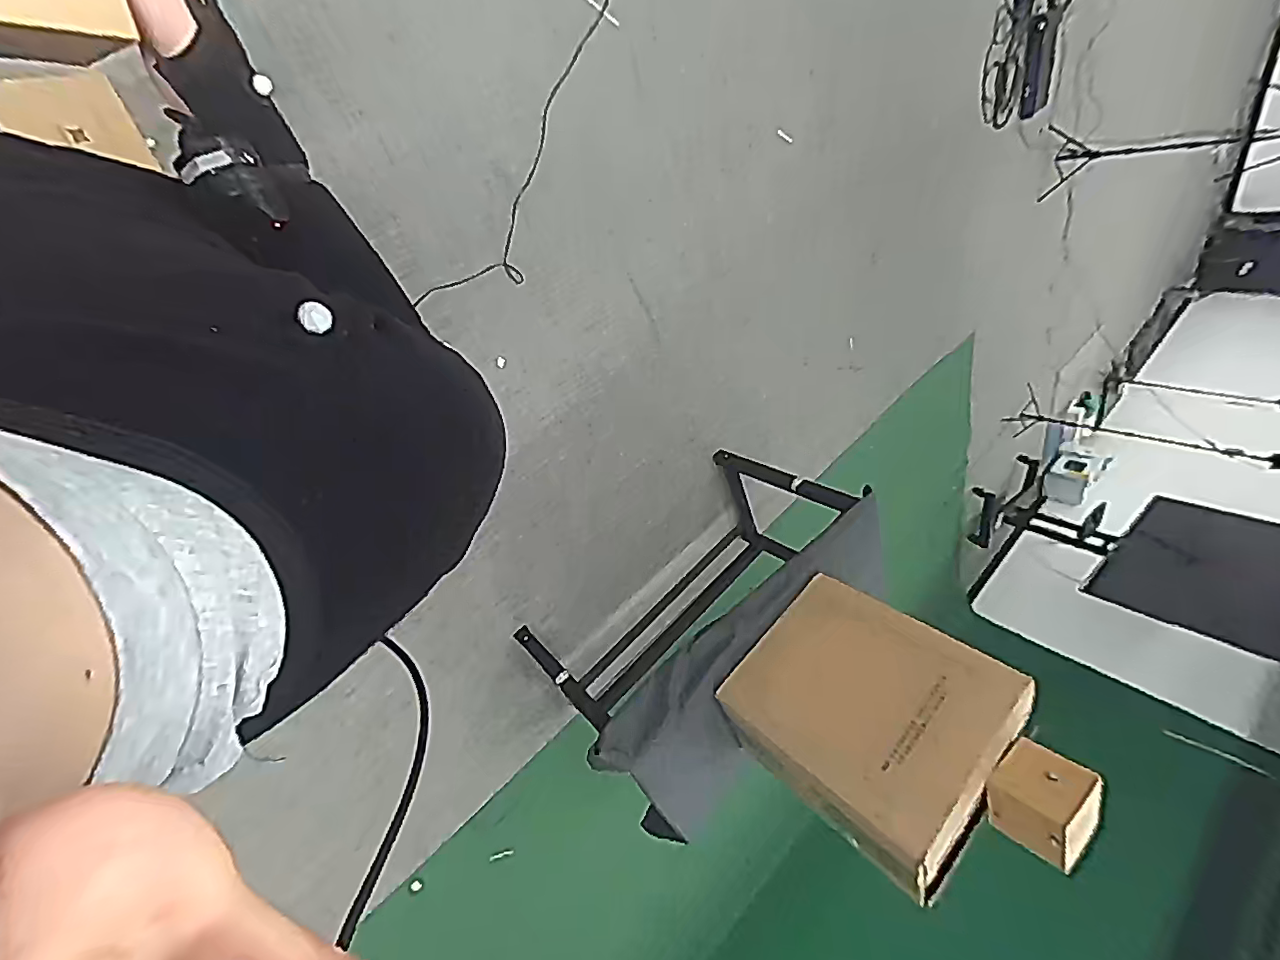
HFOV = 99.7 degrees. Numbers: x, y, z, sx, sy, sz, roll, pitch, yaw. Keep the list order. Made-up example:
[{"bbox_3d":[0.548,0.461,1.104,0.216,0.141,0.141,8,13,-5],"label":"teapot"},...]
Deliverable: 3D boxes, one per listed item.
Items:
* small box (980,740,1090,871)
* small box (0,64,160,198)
[{"bbox_3d":[0.958,0.780,1.317,0.179,0.176,0.168,-28,114,-26],"label":"small box"},{"bbox_3d":[-0.995,-0.606,0.953,0.179,0.176,0.168,-33,128,-27],"label":"small box"}]
